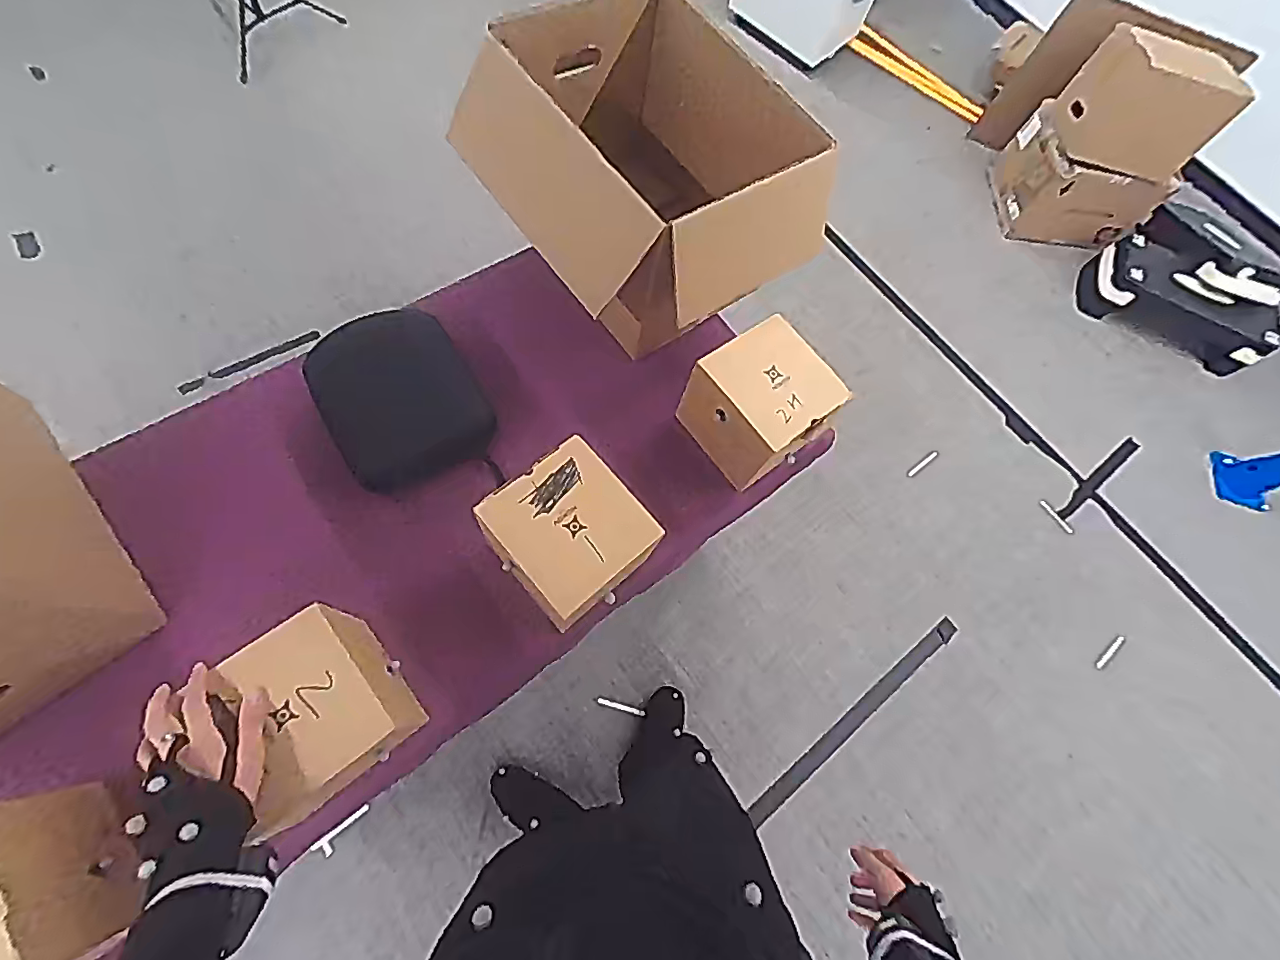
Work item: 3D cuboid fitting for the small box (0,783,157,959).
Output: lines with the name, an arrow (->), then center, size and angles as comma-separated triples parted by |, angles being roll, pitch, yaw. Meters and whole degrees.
small box -> -0.639, 0.430, 0.520 | 0.179, 0.176, 0.168 | -35, 78, -20

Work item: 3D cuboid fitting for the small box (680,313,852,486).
small box -> 0.184, -0.119, 0.852 | 0.168, 0.176, 0.179 | -34, 78, -17

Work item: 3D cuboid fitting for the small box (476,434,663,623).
small box -> -0.097, 0.076, 0.738 | 0.168, 0.176, 0.179 | -38, 80, -19
